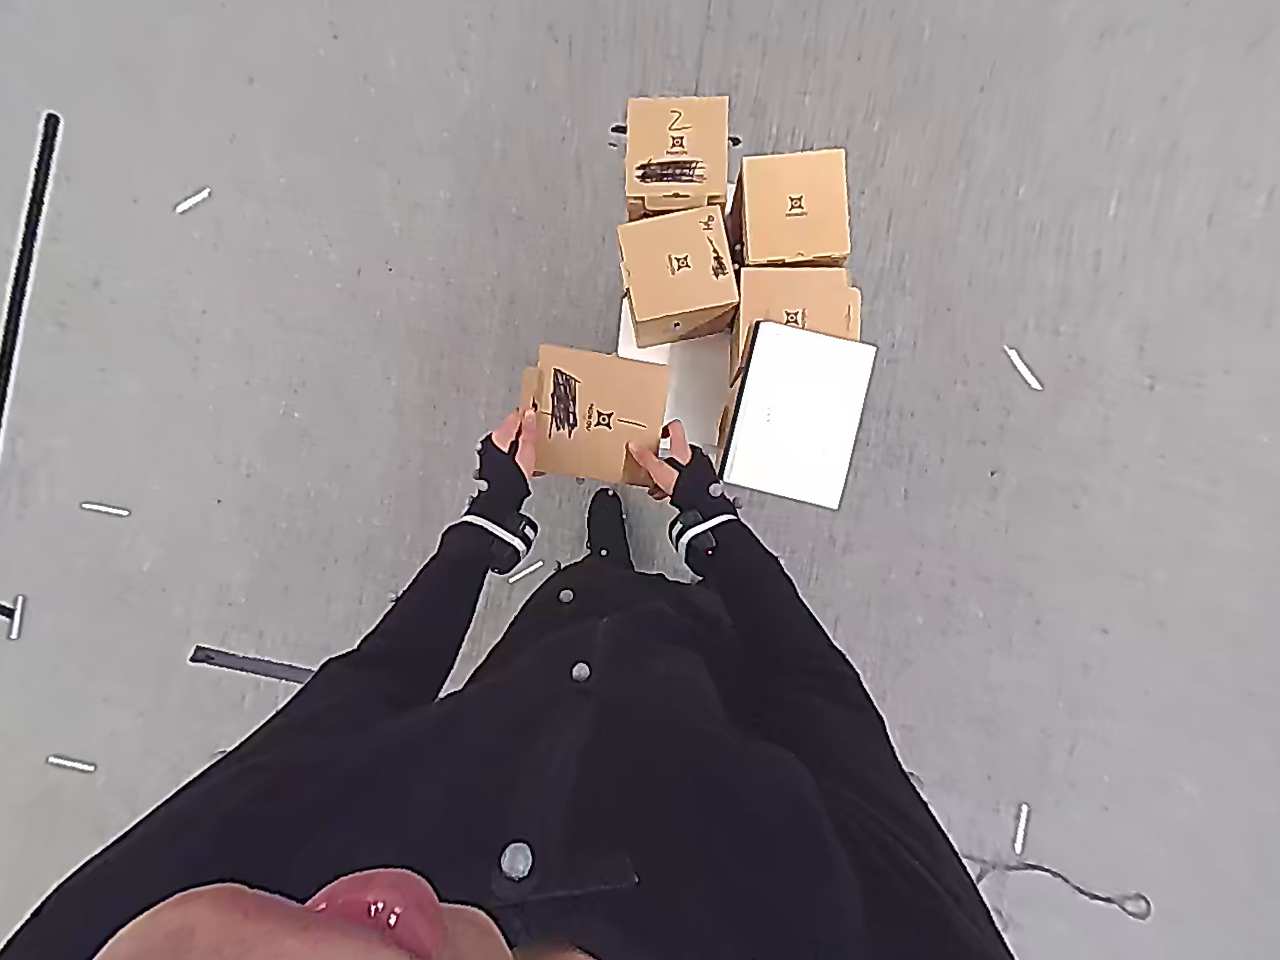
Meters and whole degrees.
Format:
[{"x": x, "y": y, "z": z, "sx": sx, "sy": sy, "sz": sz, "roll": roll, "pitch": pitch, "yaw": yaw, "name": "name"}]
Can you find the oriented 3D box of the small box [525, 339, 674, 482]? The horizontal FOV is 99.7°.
[{"x": -0.058, "y": -0.097, "z": 0.790, "sx": 0.179, "sy": 0.176, "sz": 0.168, "roll": 9, "pitch": 95, "yaw": -5, "name": "small box"}]
